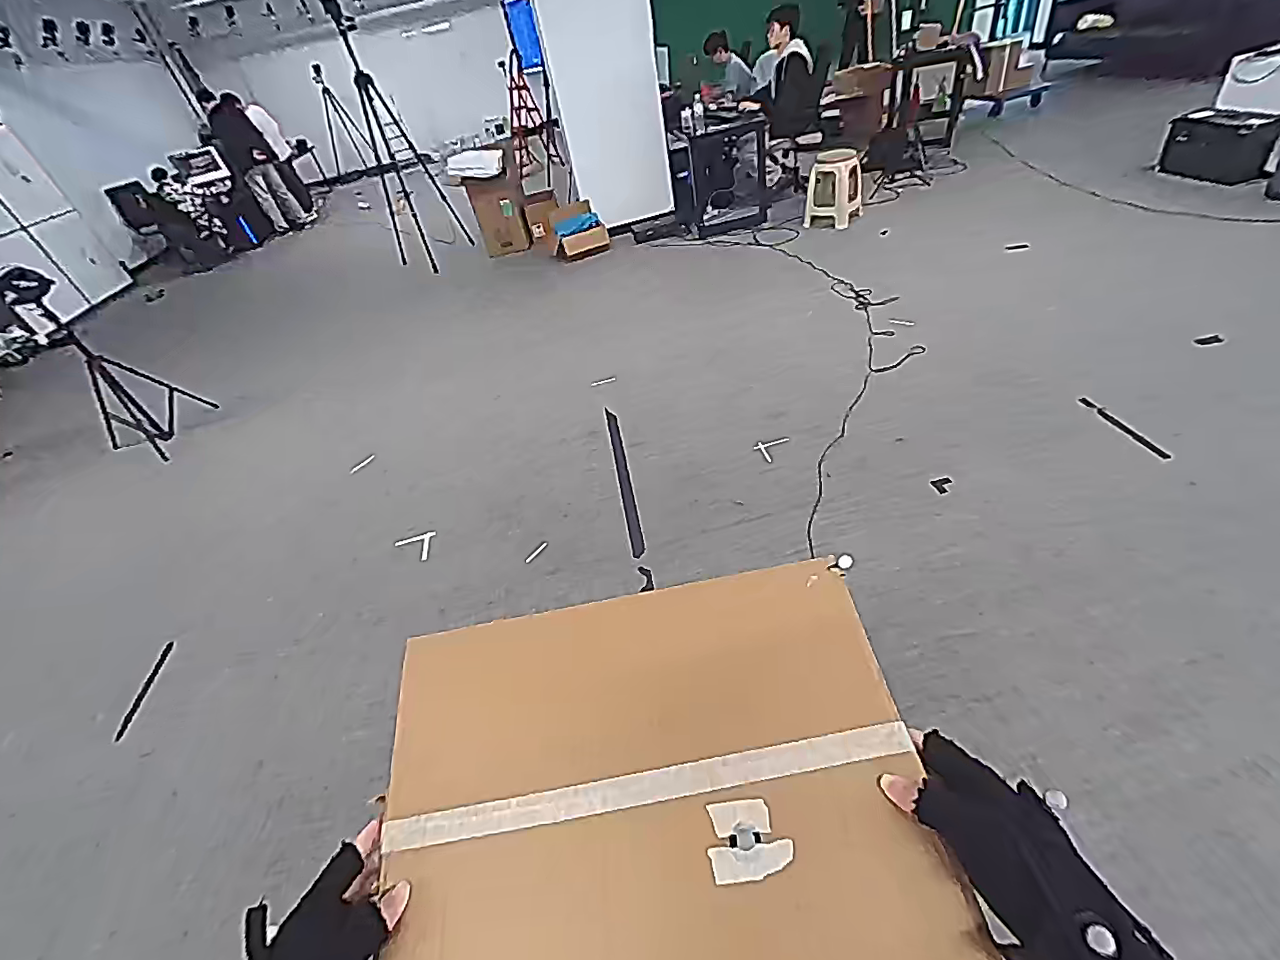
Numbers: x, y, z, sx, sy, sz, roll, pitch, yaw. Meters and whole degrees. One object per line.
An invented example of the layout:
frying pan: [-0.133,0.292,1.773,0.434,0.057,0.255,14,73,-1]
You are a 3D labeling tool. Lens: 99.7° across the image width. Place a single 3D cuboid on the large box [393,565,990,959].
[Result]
large box: [0.025,0.328,0.545,0.408,0.320,0.320,-11,54,1]
